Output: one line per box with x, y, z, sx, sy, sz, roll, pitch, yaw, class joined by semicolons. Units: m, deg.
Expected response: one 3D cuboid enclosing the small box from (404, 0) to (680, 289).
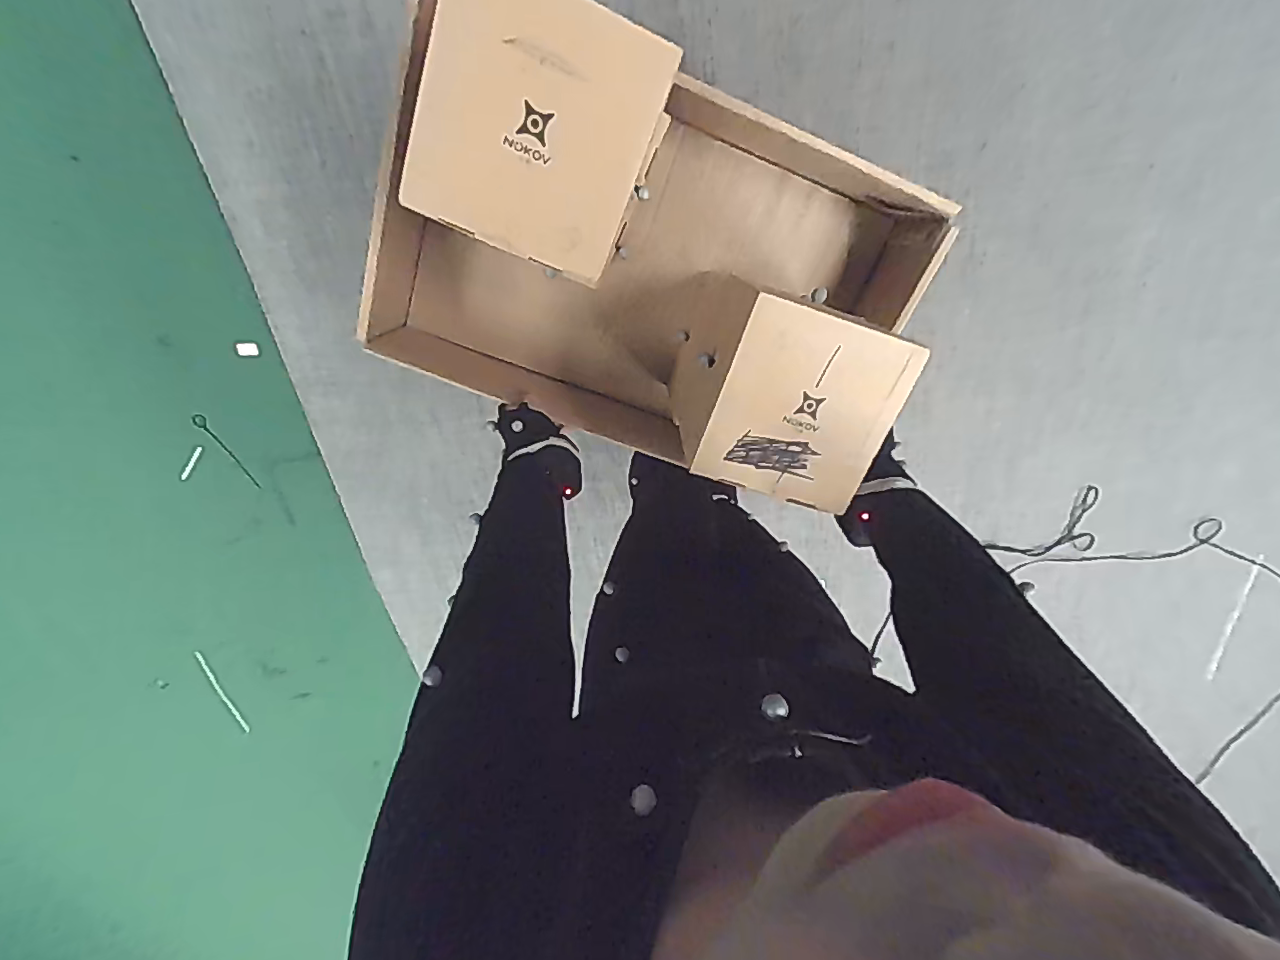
-0.079;-0.292;0.472;0.168;0.176;0.179;20;113;-12;small box

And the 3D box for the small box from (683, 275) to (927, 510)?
0.149;-0.099;0.567;0.168;0.176;0.179;16;114;-8;small box
